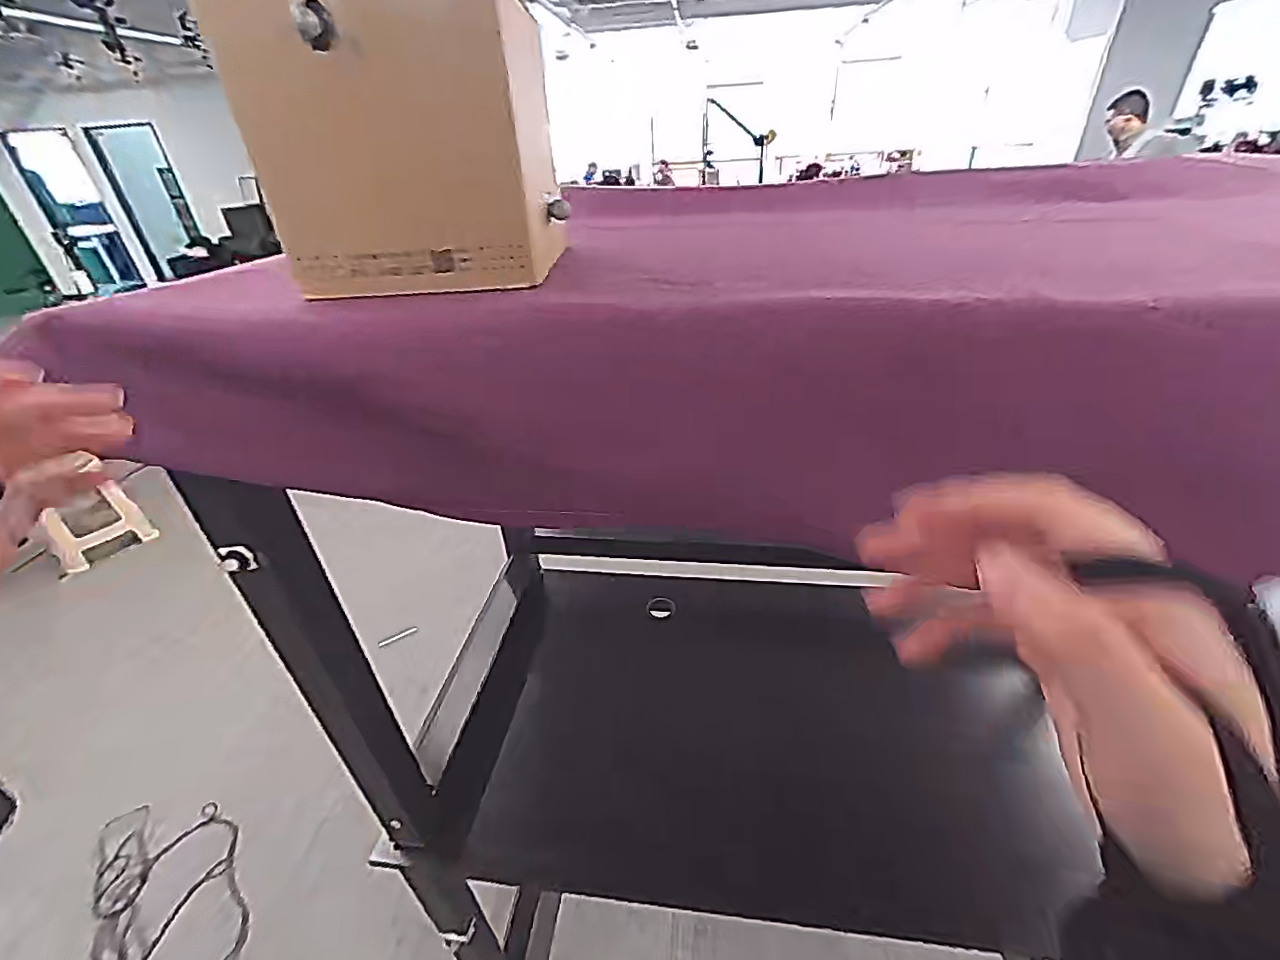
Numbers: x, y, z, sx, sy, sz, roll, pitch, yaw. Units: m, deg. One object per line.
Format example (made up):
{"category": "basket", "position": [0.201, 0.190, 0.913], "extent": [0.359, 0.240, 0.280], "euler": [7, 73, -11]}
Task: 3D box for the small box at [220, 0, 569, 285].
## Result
{"category": "small box", "position": [-0.148, -0.246, 0.396], "extent": [0.168, 0.176, 0.179], "euler": [-3, 31, 1]}
